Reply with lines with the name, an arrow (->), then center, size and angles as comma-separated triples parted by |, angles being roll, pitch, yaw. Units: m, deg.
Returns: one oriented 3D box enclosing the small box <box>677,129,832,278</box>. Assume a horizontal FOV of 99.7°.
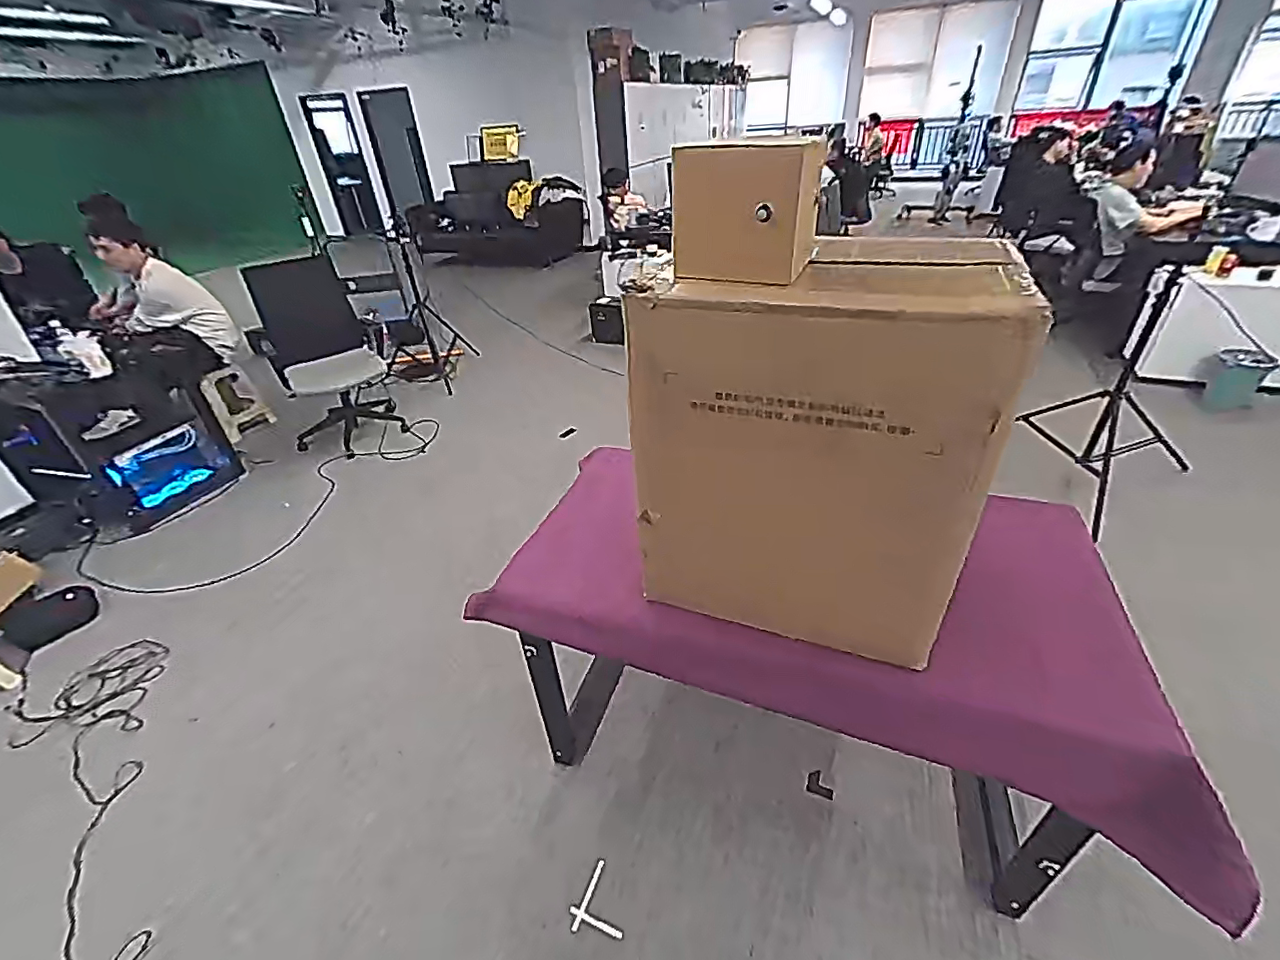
small box -> 0.163, -0.396, 0.776 | 0.179, 0.176, 0.168 | 12, 37, 22
